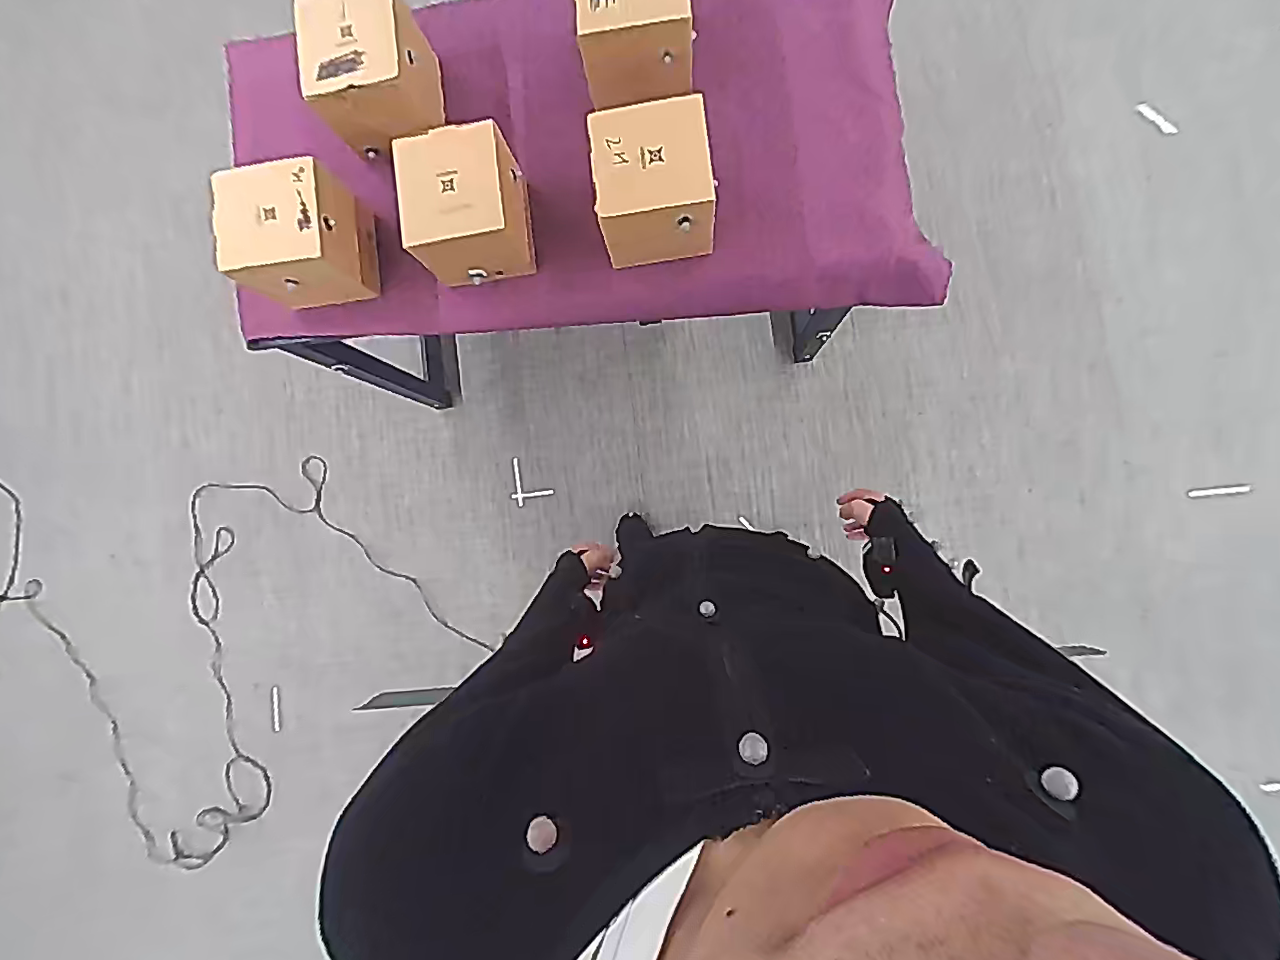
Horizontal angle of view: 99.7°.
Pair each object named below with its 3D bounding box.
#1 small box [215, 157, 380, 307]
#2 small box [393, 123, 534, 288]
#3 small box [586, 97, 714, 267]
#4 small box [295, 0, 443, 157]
[{"bbox_3d":[-0.579,-0.413,0.930,0.179,0.176,0.168,-6,87,6],"label":"small box"},{"bbox_3d":[-0.286,-0.448,0.906,0.168,0.176,0.179,-7,88,6],"label":"small box"},{"bbox_3d":[0.020,-0.468,0.873,0.179,0.176,0.168,-7,86,6],"label":"small box"},{"bbox_3d":[-0.456,-0.692,0.935,0.168,0.176,0.179,-7,86,5],"label":"small box"}]
